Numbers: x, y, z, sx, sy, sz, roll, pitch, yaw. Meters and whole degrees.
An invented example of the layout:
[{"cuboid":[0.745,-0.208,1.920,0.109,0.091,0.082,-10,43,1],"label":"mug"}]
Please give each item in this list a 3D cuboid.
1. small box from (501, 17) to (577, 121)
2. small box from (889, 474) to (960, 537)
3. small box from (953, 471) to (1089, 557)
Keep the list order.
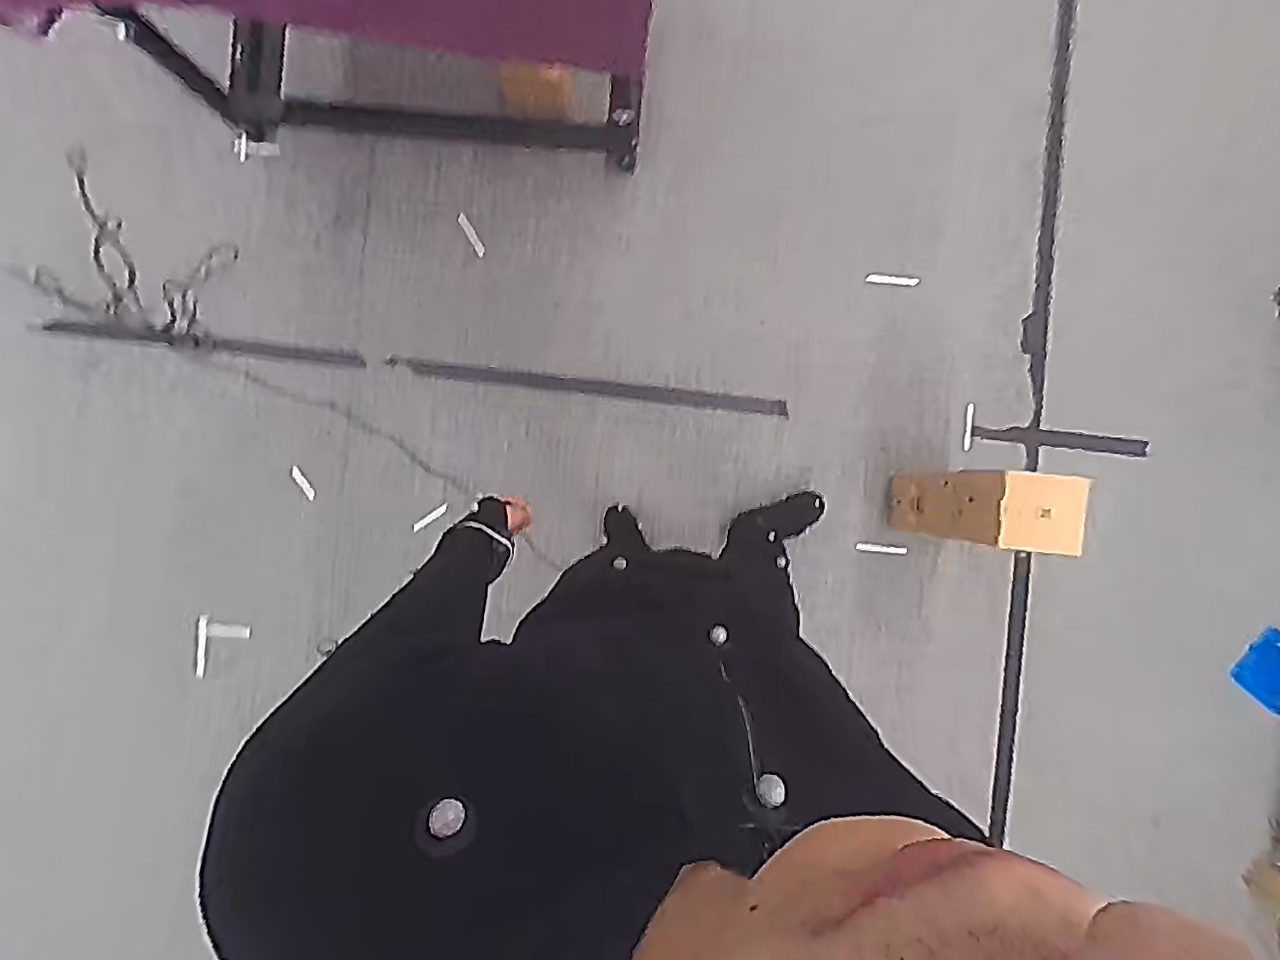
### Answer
[{"cuboid":[-0.281,-1.163,1.542,0.179,0.176,0.168,6,90,1],"label":"small box"},{"cuboid":[0.835,0.070,1.532,0.179,0.176,0.168,3,90,2],"label":"small box"},{"cuboid":[0.838,0.069,1.204,0.179,0.176,0.168,6,91,1],"label":"small box"}]
